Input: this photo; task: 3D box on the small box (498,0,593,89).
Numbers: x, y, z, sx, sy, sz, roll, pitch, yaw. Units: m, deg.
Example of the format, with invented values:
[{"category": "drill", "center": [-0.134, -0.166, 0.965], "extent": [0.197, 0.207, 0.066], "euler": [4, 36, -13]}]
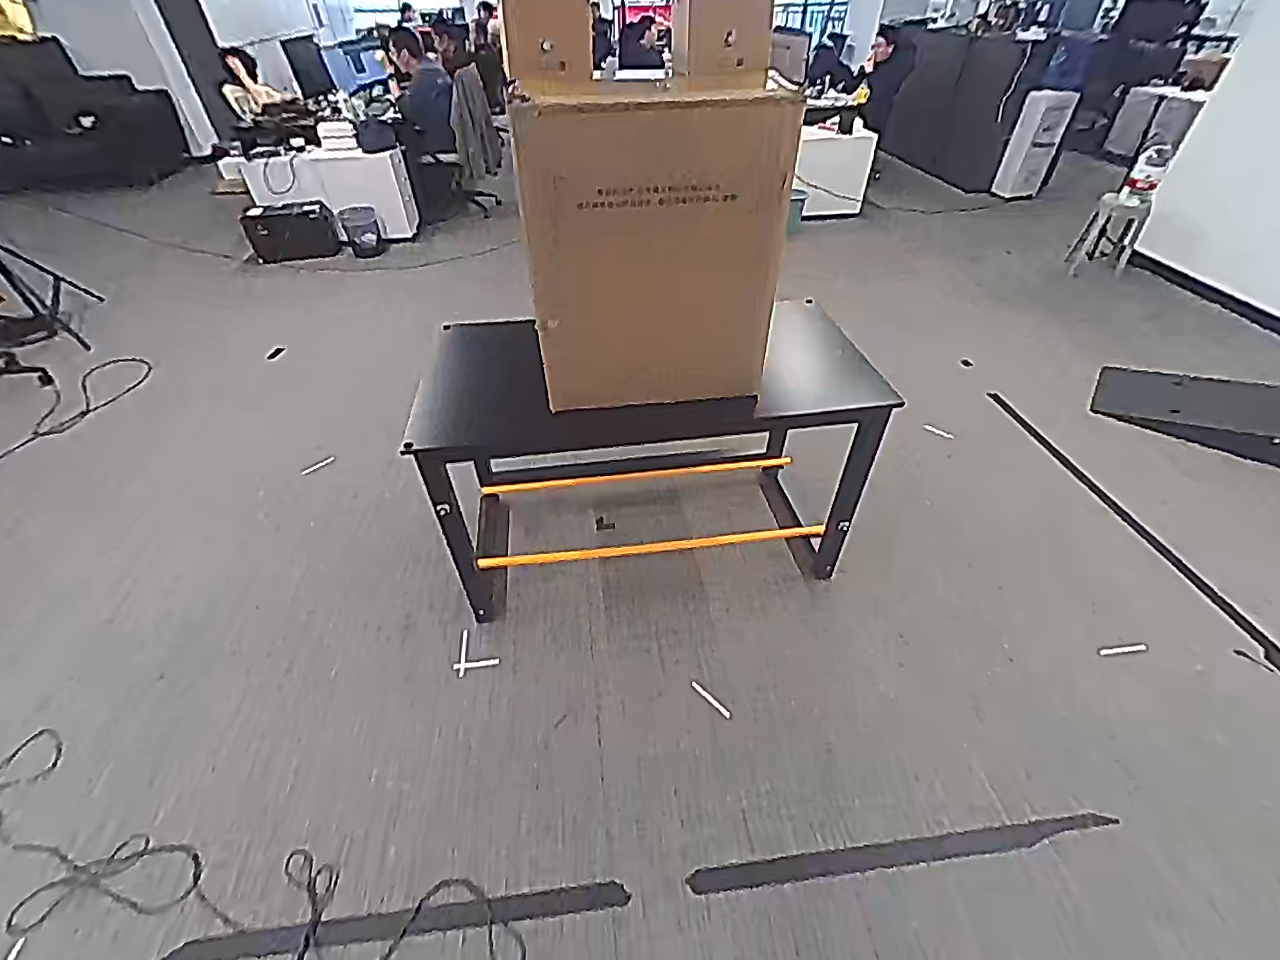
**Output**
[{"category": "small box", "center": [-0.189, -0.886, 1.067], "extent": [0.168, 0.176, 0.179], "euler": [-9, 42, -10]}]

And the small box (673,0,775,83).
[{"category": "small box", "center": [0.160, -0.906, 1.084], "extent": [0.168, 0.176, 0.179], "euler": [-7, 41, -5]}]
